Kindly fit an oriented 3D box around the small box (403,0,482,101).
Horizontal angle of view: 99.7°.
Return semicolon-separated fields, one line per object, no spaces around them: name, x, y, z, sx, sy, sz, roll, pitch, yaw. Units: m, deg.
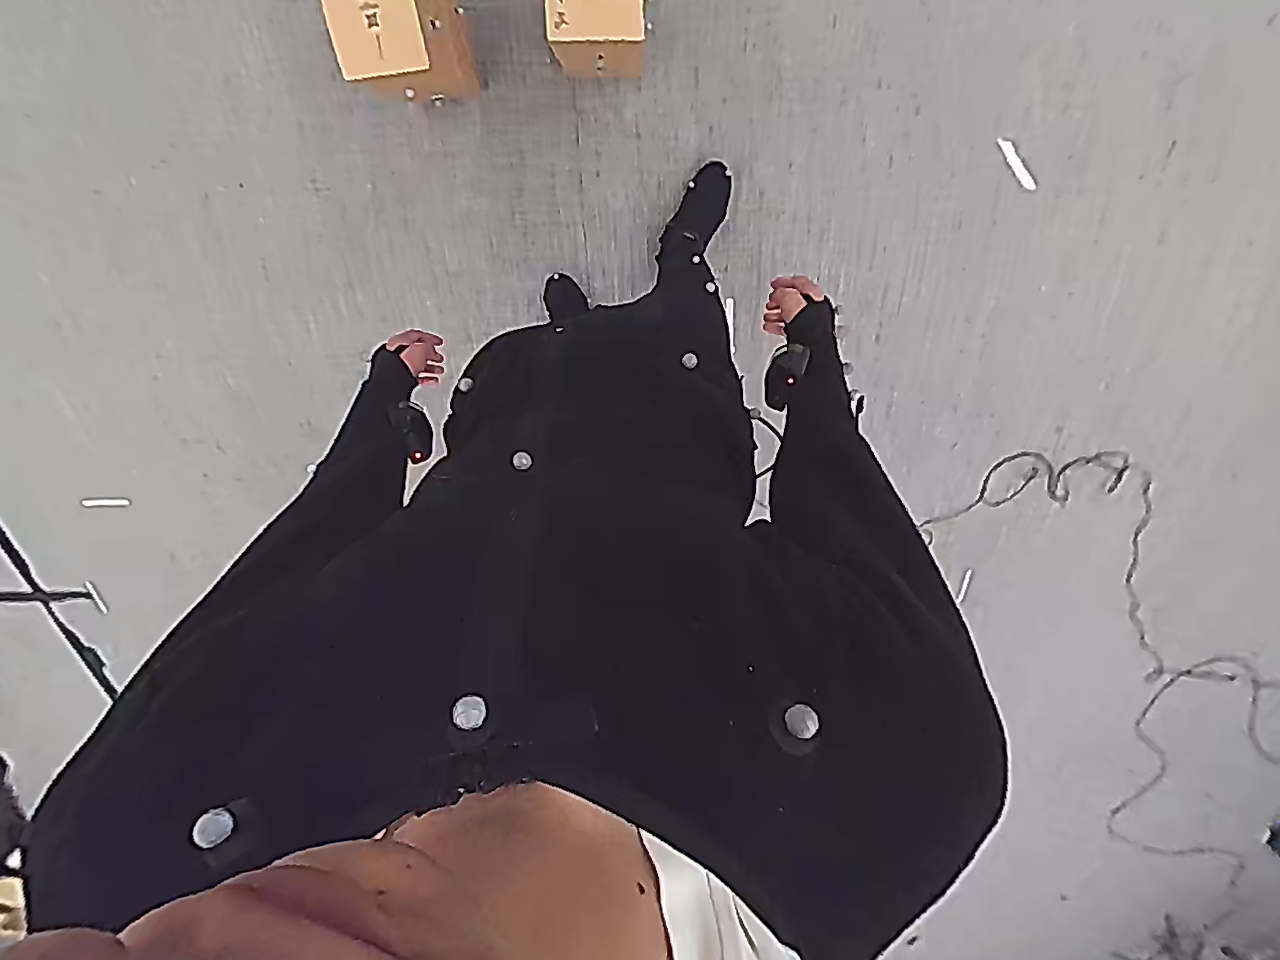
small box;-0.454;-0.937;1.155;0.168;0.176;0.179;-6;118;4

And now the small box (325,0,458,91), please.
small box;-0.463;-0.856;1.013;0.168;0.176;0.179;-4;119;3

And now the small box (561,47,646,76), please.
small box;-0.074;-0.966;1.139;0.179;0.176;0.168;0;118;0

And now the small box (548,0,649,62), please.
small box;-0.074;-0.889;0.993;0.179;0.176;0.168;0;118;-1
